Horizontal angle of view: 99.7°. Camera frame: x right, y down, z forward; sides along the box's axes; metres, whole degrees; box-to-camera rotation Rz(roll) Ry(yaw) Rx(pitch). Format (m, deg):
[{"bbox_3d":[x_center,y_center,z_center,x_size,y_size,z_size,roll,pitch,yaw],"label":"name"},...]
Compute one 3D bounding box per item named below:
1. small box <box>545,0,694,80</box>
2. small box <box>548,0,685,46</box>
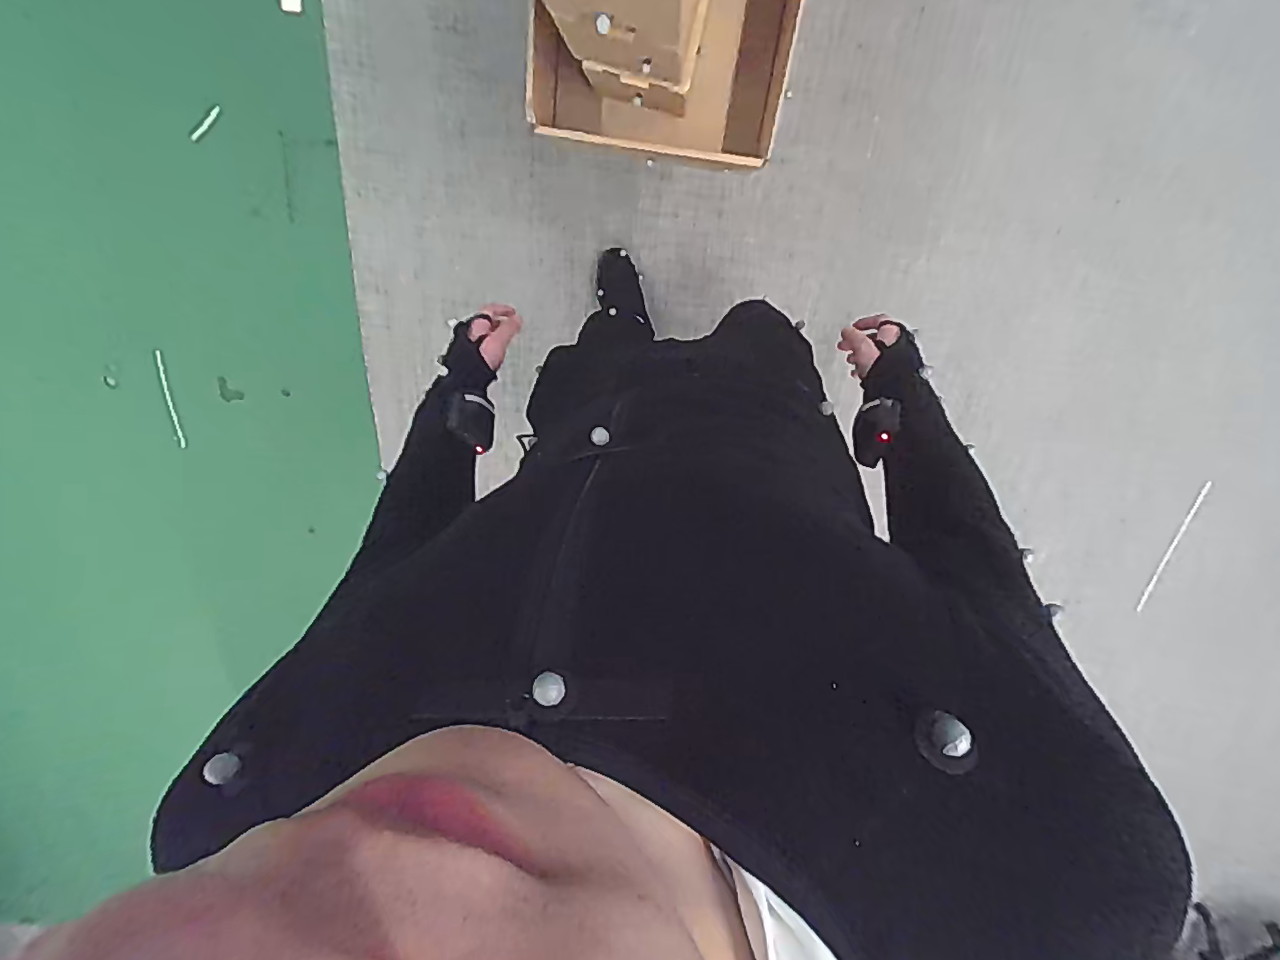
[{"bbox_3d":[-0.011,-0.647,0.687,0.168,0.176,0.179,14,113,-4],"label":"small box"},{"bbox_3d":[-0.019,-0.581,0.537,0.168,0.176,0.179,13,115,-4],"label":"small box"}]
